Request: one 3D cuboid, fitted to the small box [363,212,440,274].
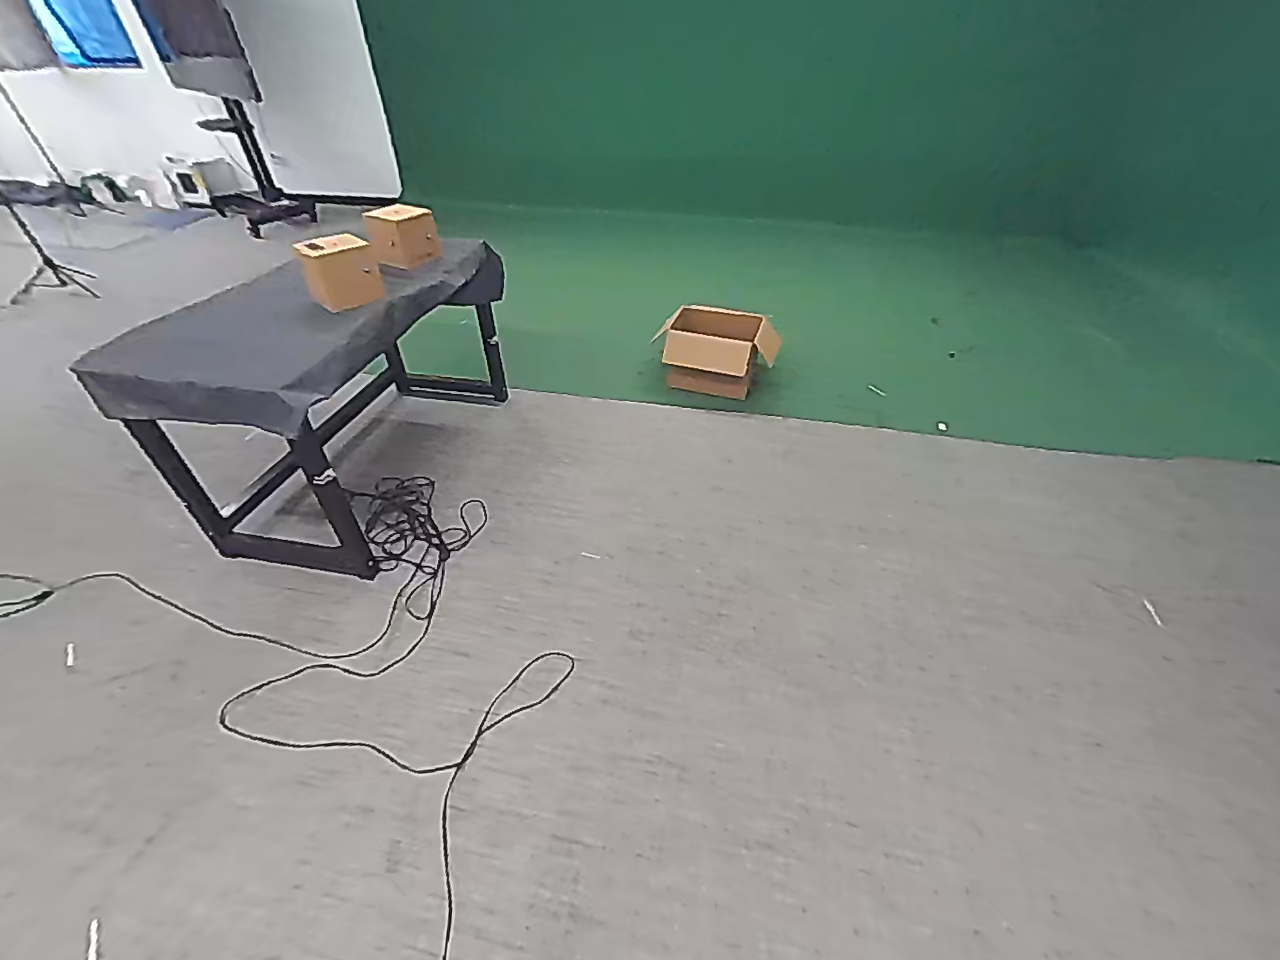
[{"bbox_3d":[-0.859,-0.861,1.968,0.179,0.176,0.168,19,42,23],"label":"small box"}]
